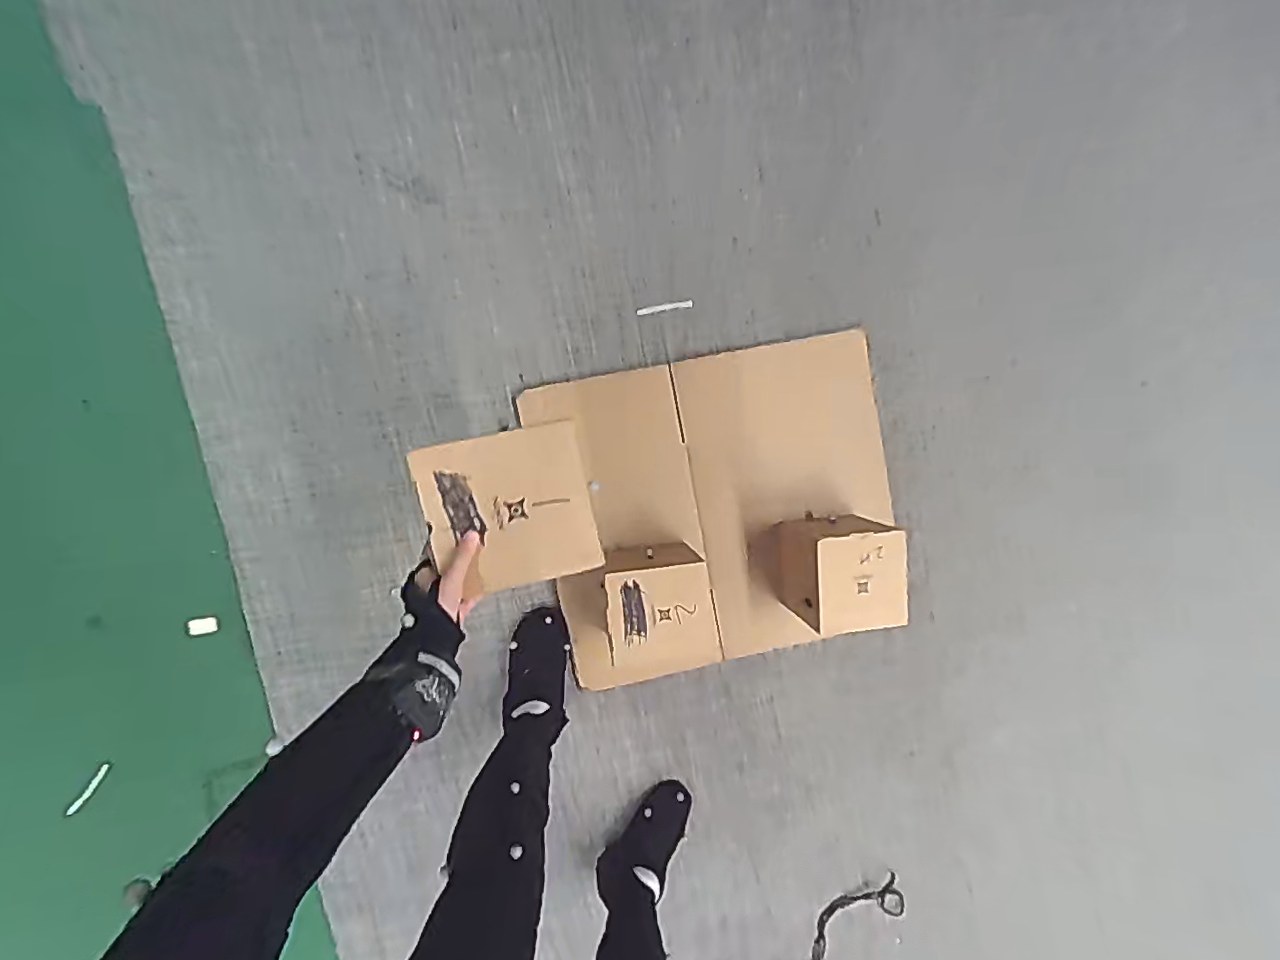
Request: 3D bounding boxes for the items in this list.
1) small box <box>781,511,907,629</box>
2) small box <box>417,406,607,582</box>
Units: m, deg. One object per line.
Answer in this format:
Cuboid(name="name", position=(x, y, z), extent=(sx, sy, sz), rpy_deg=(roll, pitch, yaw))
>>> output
Cuboid(name="small box", position=(0.374, 0.160, 1.013), extent=(0.168, 0.176, 0.179), rpy_deg=(-5, 95, -7))
Cuboid(name="small box", position=(-0.144, 0.008, 0.653), extent=(0.179, 0.176, 0.168), rpy_deg=(-11, 97, -8))
